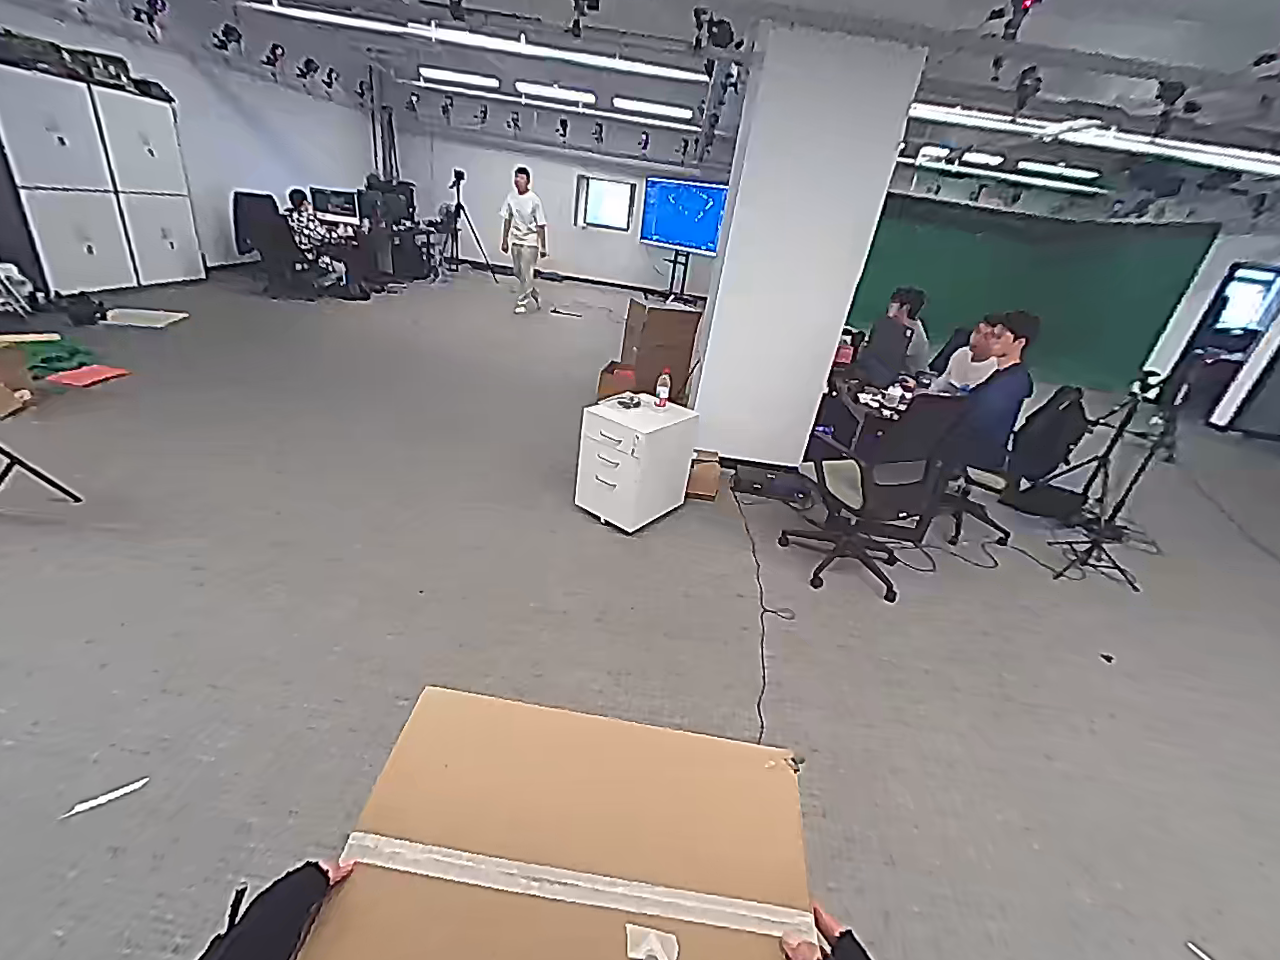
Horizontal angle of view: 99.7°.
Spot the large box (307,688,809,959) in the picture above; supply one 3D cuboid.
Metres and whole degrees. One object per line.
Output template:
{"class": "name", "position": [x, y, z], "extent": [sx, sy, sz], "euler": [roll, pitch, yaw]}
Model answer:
{"class": "large box", "position": [-0.071, 0.469, 0.564], "extent": [0.408, 0.320, 0.320], "euler": [10, 36, 1]}
